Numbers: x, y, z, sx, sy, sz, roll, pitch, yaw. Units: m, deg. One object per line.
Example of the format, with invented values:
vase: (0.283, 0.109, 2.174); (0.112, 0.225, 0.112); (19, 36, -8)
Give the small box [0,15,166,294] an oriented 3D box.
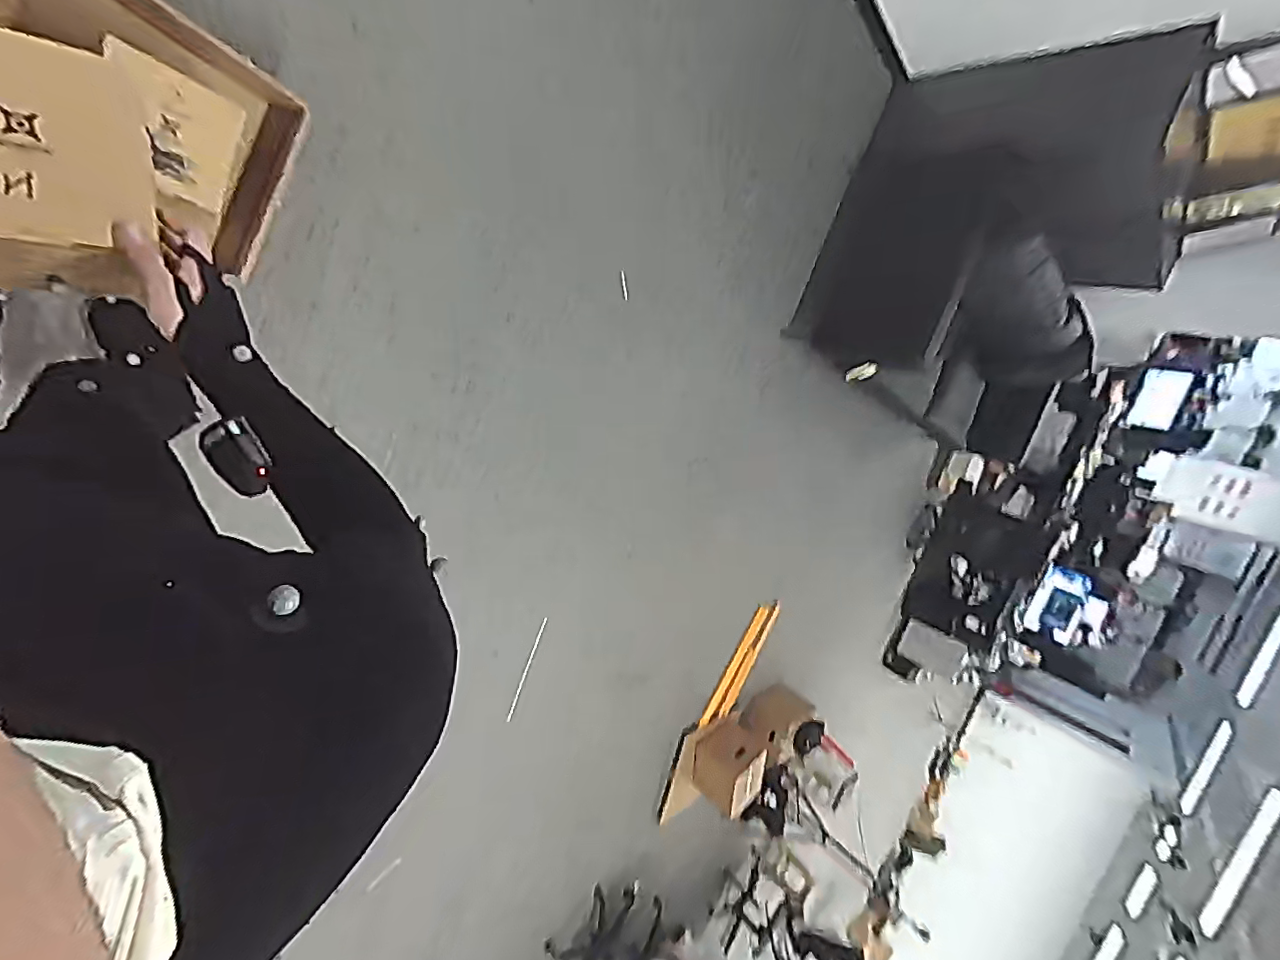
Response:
small box: (-0.563, -0.292, 0.505); (0.168, 0.176, 0.179); (-8, 95, -39)
